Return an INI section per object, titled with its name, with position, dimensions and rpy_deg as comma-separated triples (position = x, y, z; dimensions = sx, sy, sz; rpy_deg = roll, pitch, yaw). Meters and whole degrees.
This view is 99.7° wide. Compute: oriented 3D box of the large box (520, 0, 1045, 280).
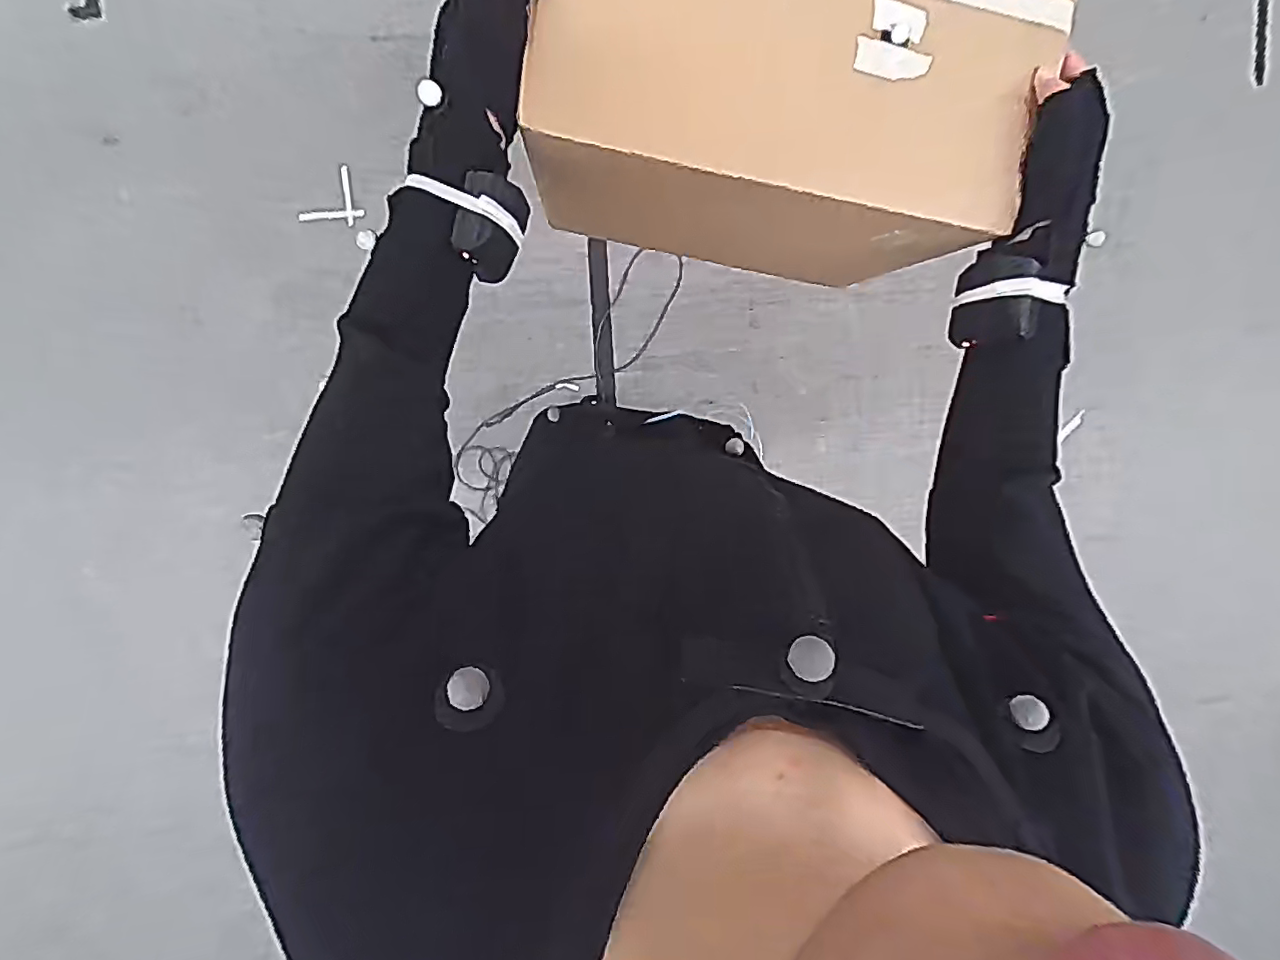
[large box]
position = 0.107, -0.418, 0.554
dimensions = 0.408, 0.320, 0.320
rpy_deg = 8, 102, -8
